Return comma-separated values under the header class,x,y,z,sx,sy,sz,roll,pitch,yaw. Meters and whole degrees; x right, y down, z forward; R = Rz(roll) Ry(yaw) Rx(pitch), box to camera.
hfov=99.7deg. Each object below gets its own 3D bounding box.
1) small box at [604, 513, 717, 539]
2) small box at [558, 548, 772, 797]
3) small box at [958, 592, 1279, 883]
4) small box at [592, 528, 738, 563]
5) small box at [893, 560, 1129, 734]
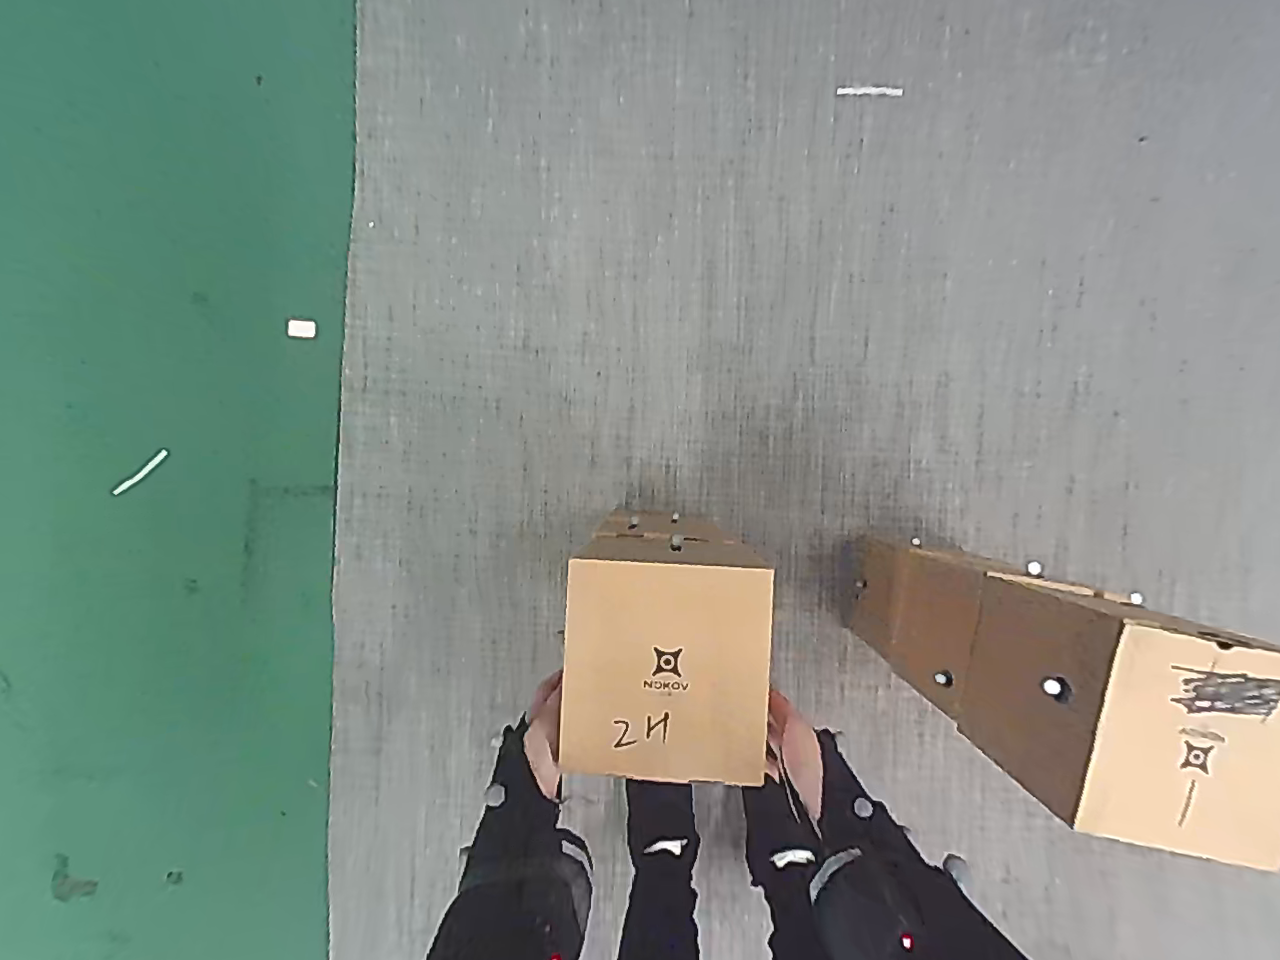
class,x,y,z,sx,sy,sz,roll,pitch,yaw
small box,0.025,0.153,0.843,0.168,0.176,0.179,6,92,1
small box,0.023,0.163,0.515,0.168,0.176,0.179,3,91,3
small box,0.436,0.219,0.508,0.168,0.176,0.179,11,93,1
small box,0.025,0.157,0.680,0.168,0.176,0.179,3,92,2
small box,0.441,0.206,0.672,0.168,0.176,0.179,10,92,1
